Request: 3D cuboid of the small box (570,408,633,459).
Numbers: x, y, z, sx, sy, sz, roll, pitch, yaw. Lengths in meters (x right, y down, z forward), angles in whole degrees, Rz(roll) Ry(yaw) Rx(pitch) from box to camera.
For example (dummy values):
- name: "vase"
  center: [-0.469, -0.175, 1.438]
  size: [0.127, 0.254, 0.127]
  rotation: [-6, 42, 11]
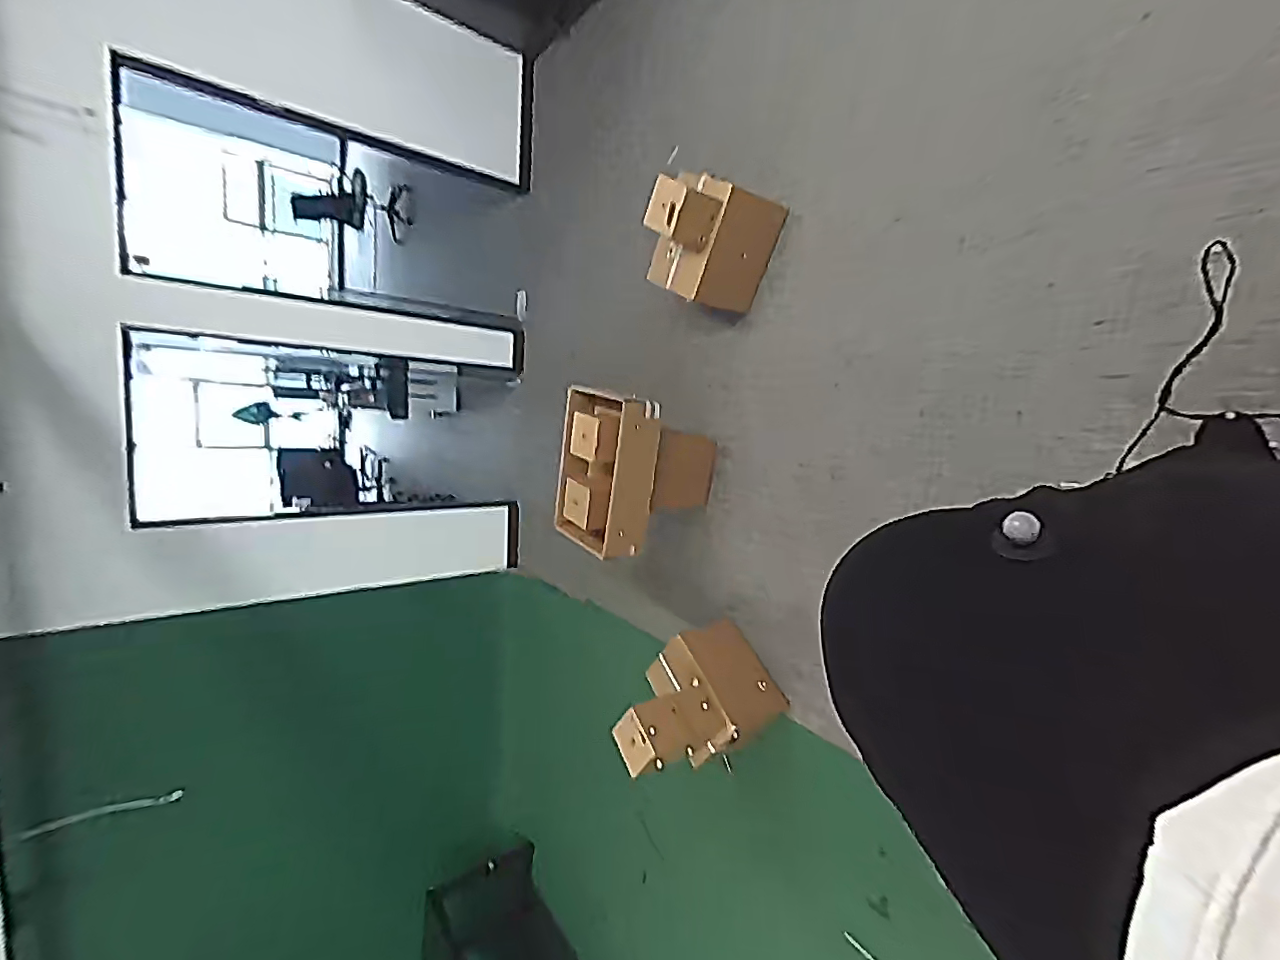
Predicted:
- name: "small box"
  center: [-0.151, -0.181, 2.112]
  size: [0.179, 0.176, 0.168]
  rotation: [23, 110, 47]

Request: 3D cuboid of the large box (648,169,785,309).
- name: "large box"
  center: [0.287, -0.921, 2.080]
  size: [0.320, 0.320, 0.408]
  rotation: [44, 126, 42]

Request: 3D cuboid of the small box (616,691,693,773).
- name: "small box"
  center: [0.050, 0.842, 1.815]
  size: [0.168, 0.176, 0.179]
  rotation: [55, 131, 35]

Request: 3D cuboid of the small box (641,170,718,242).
- name: "small box"
  center: [0.139, -0.942, 1.869]
  size: [0.179, 0.176, 0.168]
  rotation: [47, 127, 38]

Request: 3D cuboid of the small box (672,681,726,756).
- name: "small box"
  center: [0.175, 0.846, 1.922]
  size: [0.168, 0.176, 0.179]
  rotation: [55, 130, 34]
